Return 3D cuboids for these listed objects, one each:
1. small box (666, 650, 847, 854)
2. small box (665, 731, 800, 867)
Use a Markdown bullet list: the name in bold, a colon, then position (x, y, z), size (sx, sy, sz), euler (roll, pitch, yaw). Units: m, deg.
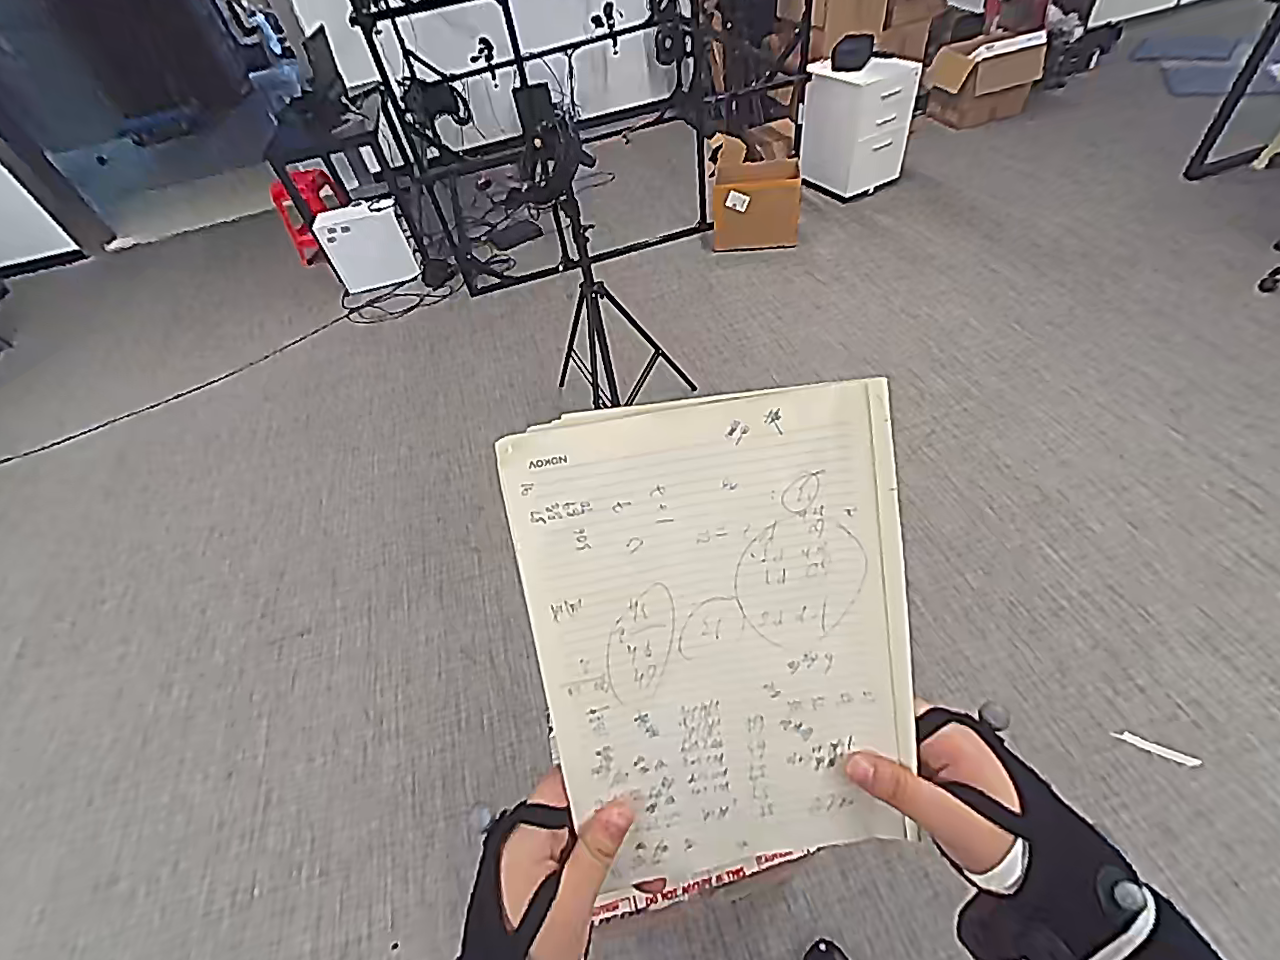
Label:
- **small box**: position (0.136, 0.354, 0.701), size (0.168, 0.176, 0.179), euler (-15, 50, -6)
- **small box**: position (0.148, 0.461, 0.826), size (0.179, 0.176, 0.168), euler (-18, 50, -8)
